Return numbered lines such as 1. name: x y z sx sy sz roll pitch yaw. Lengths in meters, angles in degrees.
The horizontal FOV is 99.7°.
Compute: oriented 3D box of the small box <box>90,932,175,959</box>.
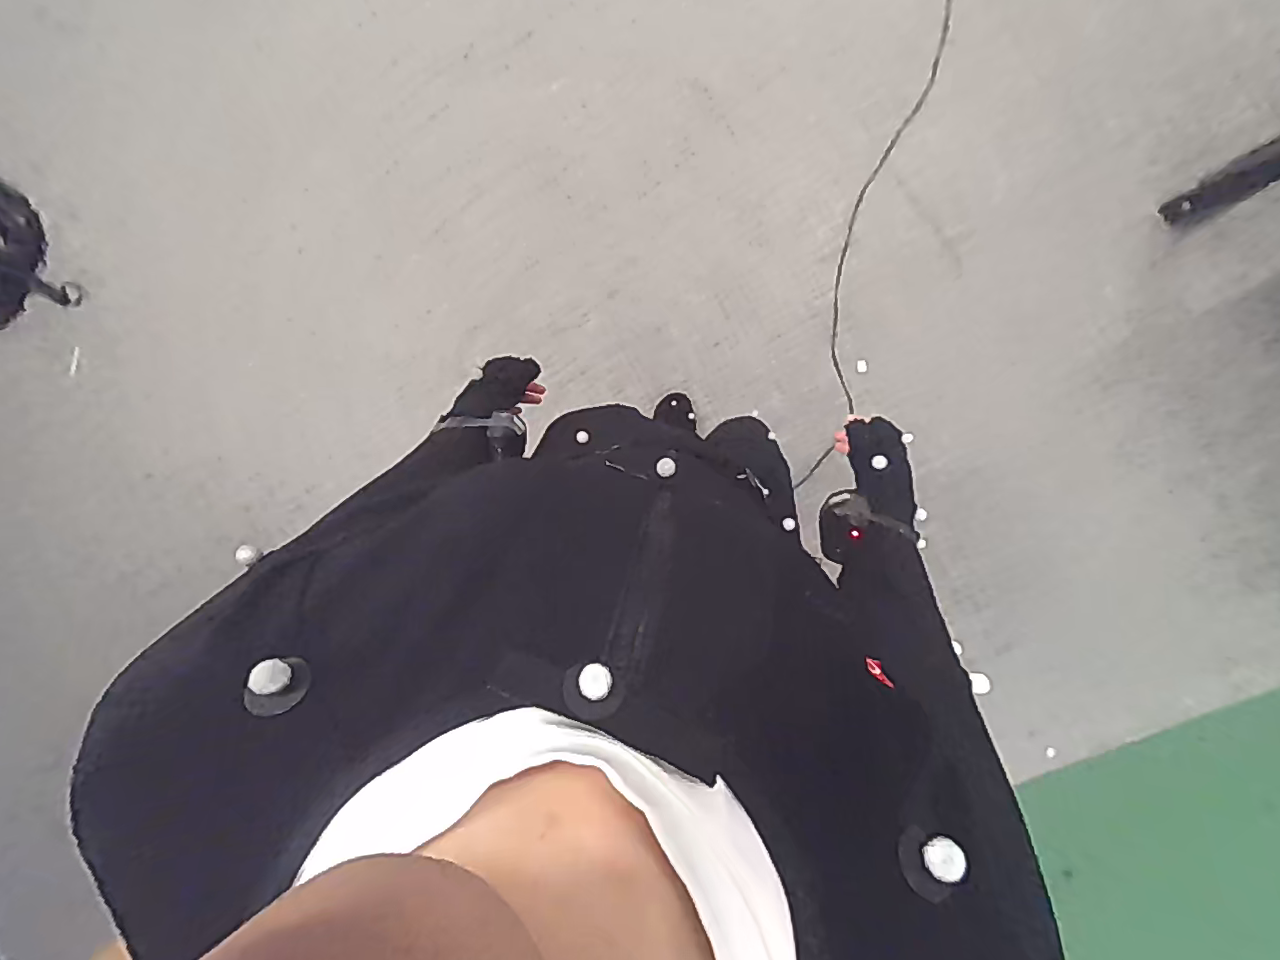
1. small box: -0.854 0.876 0.848 0.168 0.176 0.179 -26 89 10
